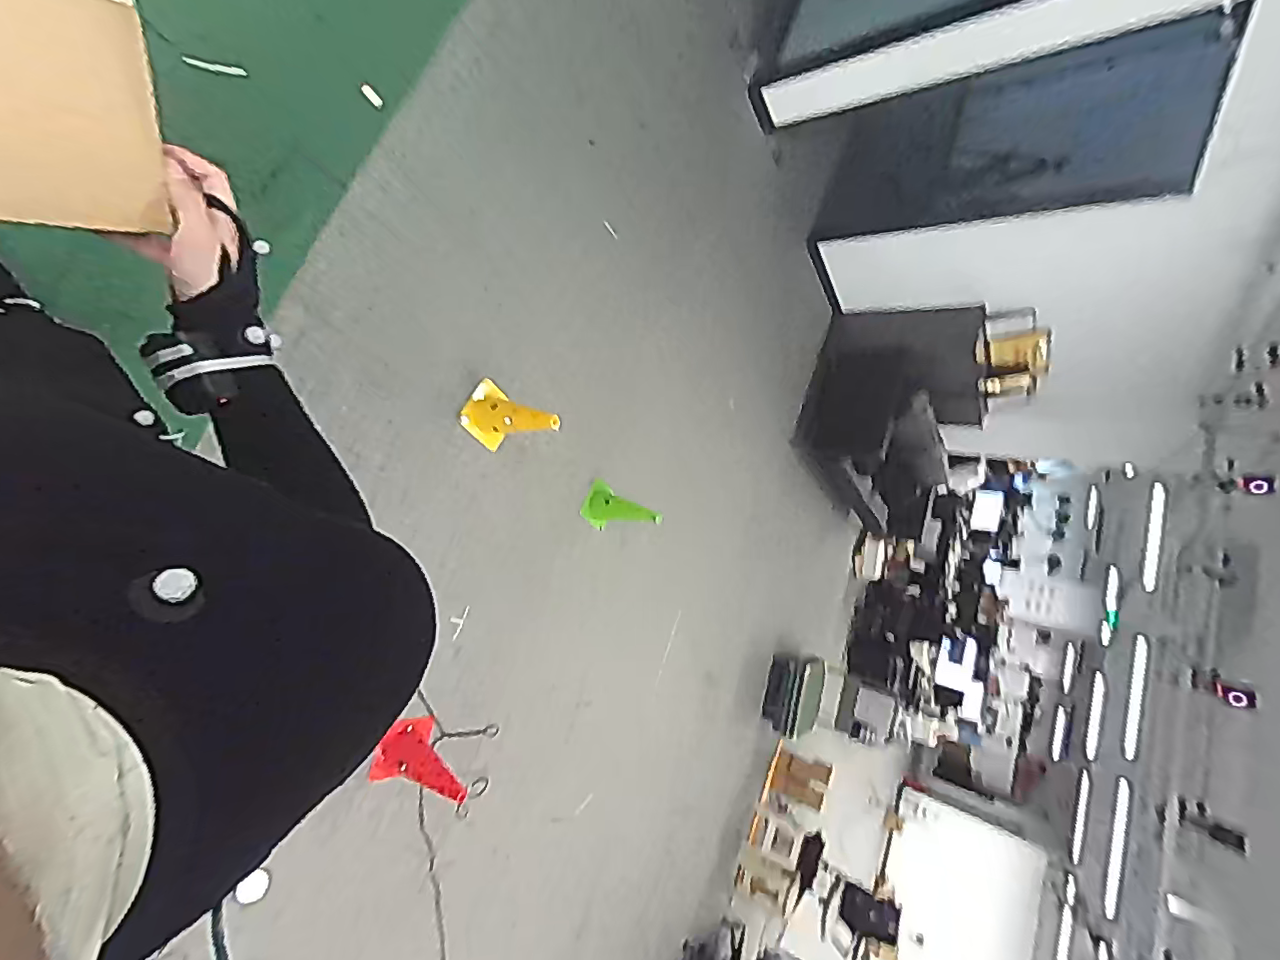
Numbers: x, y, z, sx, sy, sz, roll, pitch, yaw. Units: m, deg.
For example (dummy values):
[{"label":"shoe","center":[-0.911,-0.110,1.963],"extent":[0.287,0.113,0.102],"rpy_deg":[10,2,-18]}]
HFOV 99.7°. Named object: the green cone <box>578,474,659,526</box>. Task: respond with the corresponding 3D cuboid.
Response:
[{"label":"green cone","center":[-0.065,0.115,2.440],"extent":[0.202,0.368,0.200],"rpy_deg":[45,62,-46]}]
